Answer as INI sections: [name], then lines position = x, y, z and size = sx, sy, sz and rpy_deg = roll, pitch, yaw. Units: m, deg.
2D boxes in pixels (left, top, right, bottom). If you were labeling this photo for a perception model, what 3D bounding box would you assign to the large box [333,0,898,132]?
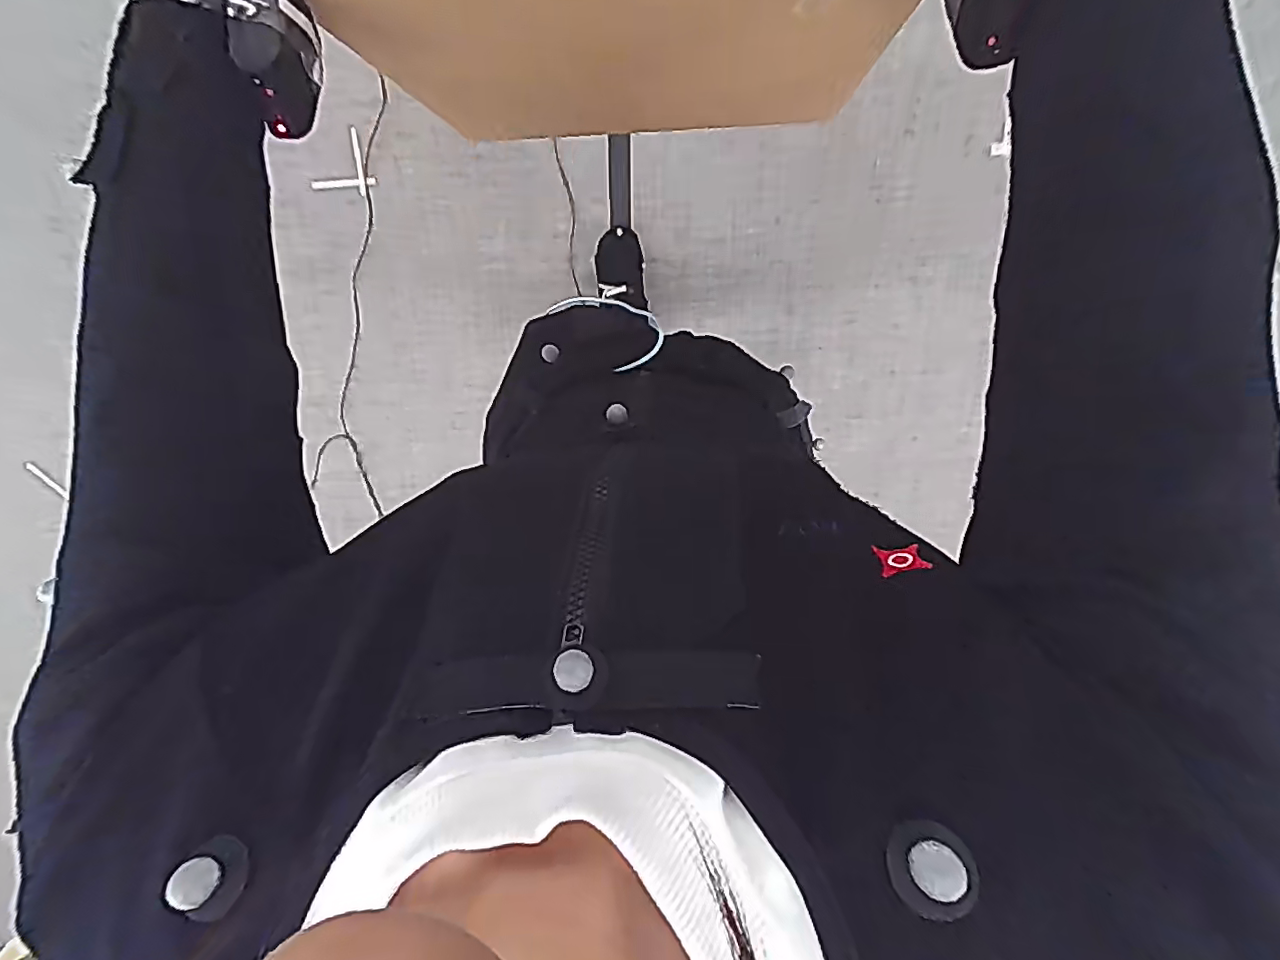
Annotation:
[large box]
position = -0.010, -0.499, 0.408
size = 0.408, 0.320, 0.320
rpy_deg = -1, 108, 5
